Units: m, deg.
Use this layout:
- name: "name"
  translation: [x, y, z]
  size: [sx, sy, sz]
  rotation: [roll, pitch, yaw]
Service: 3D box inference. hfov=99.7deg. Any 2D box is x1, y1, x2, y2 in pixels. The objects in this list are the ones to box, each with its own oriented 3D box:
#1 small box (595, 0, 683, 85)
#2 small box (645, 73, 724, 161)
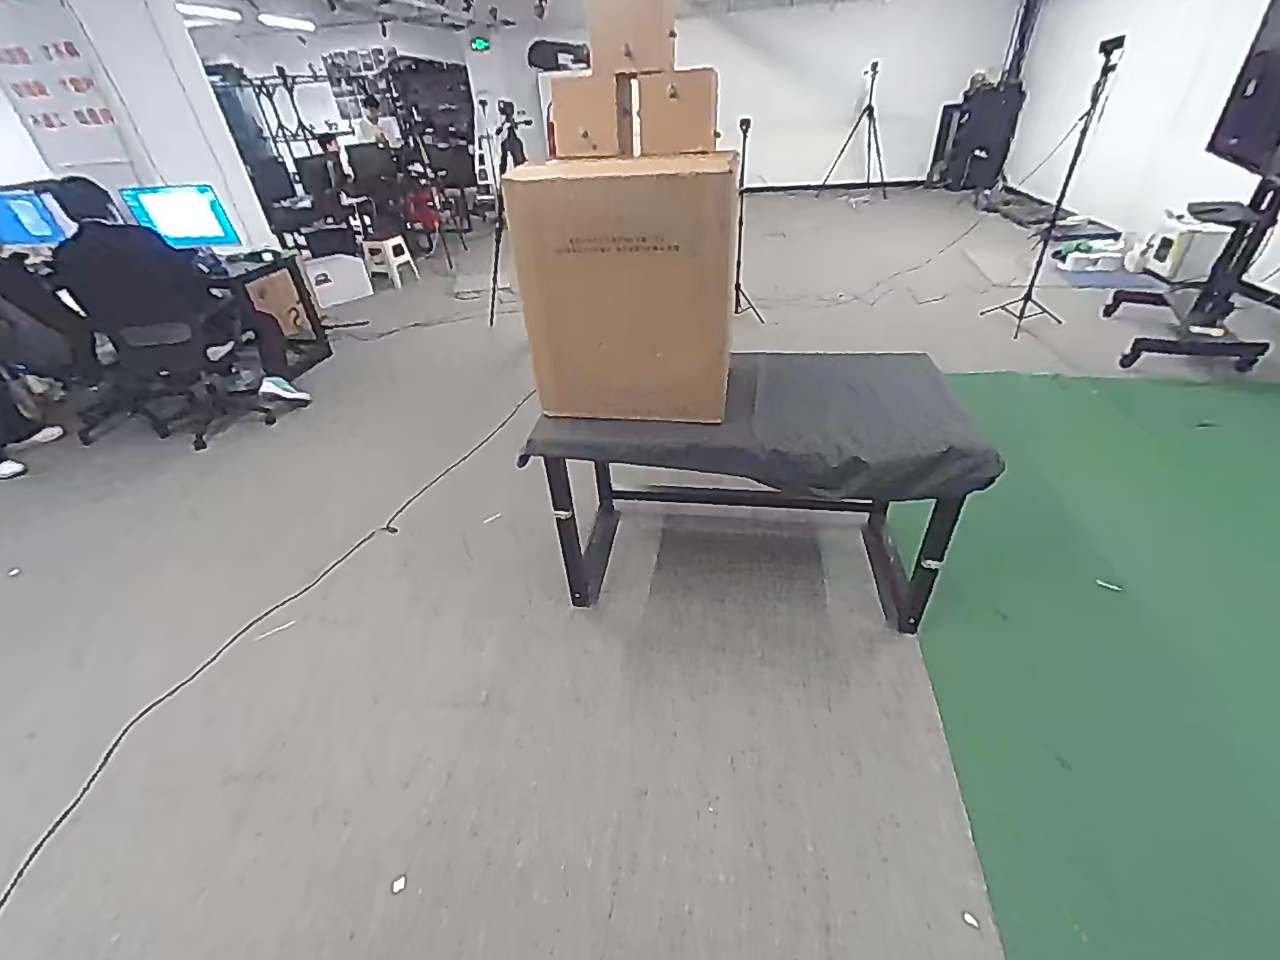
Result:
- name: "small box"
  translation: [0.001, -1.050, 1.288]
  size: [0.179, 0.176, 0.168]
  rotation: [6, 32, 11]
- name: "small box"
  translation: [0.114, -0.898, 1.349]
  size: [0.179, 0.176, 0.168]
  rotation: [5, 33, 10]
